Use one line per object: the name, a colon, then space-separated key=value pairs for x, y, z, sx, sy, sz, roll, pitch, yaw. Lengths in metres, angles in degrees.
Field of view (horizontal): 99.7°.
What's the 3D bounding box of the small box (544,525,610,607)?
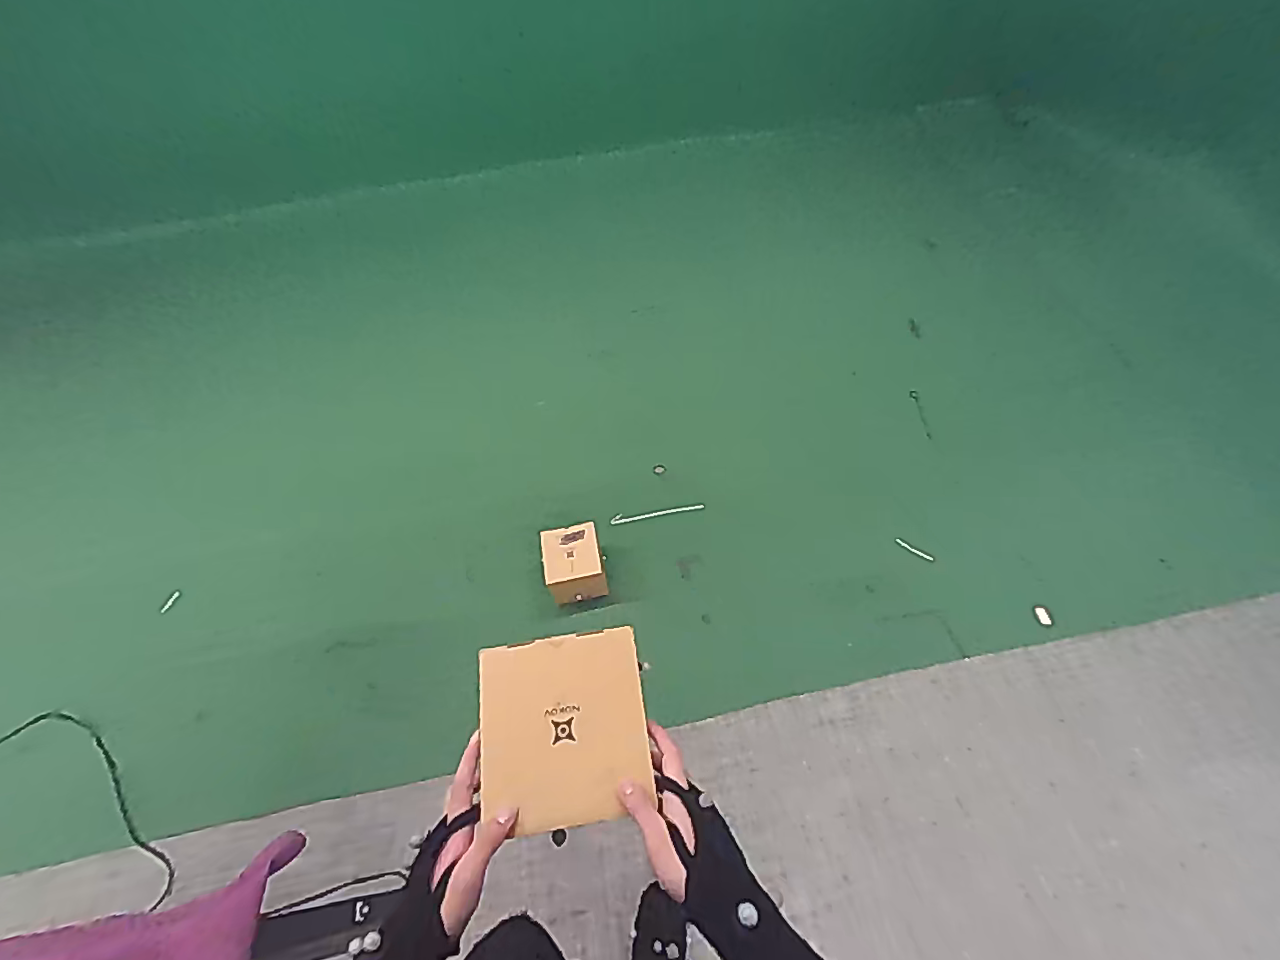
small box: x=-0.190 y=0.265 z=1.650 sx=0.168 sy=0.176 sz=0.179 roll=-12 pitch=57 yaw=-3
